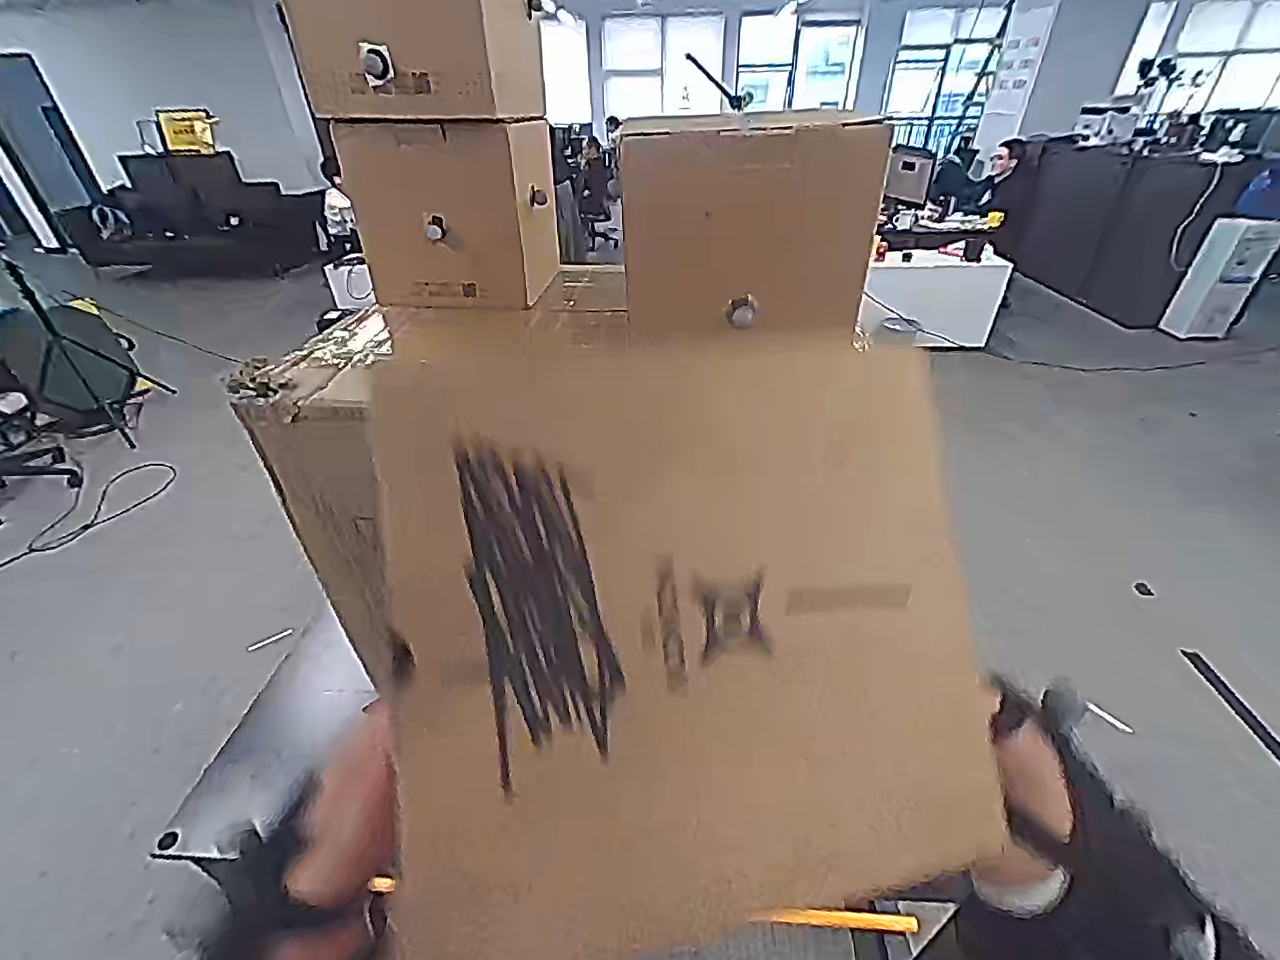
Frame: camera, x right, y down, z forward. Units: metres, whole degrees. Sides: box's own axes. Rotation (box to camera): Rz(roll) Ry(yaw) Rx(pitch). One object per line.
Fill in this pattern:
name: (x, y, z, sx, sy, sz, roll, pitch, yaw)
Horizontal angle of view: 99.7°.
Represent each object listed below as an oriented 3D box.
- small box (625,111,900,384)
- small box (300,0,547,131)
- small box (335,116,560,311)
small box: (0.077, -0.189, 0.434, 0.168, 0.176, 0.179, -1, 37, 3)
small box: (-0.185, -0.417, 0.484, 0.168, 0.176, 0.179, 2, 35, 5)
small box: (-0.186, -0.292, 0.591, 0.168, 0.176, 0.179, 2, 35, 3)
